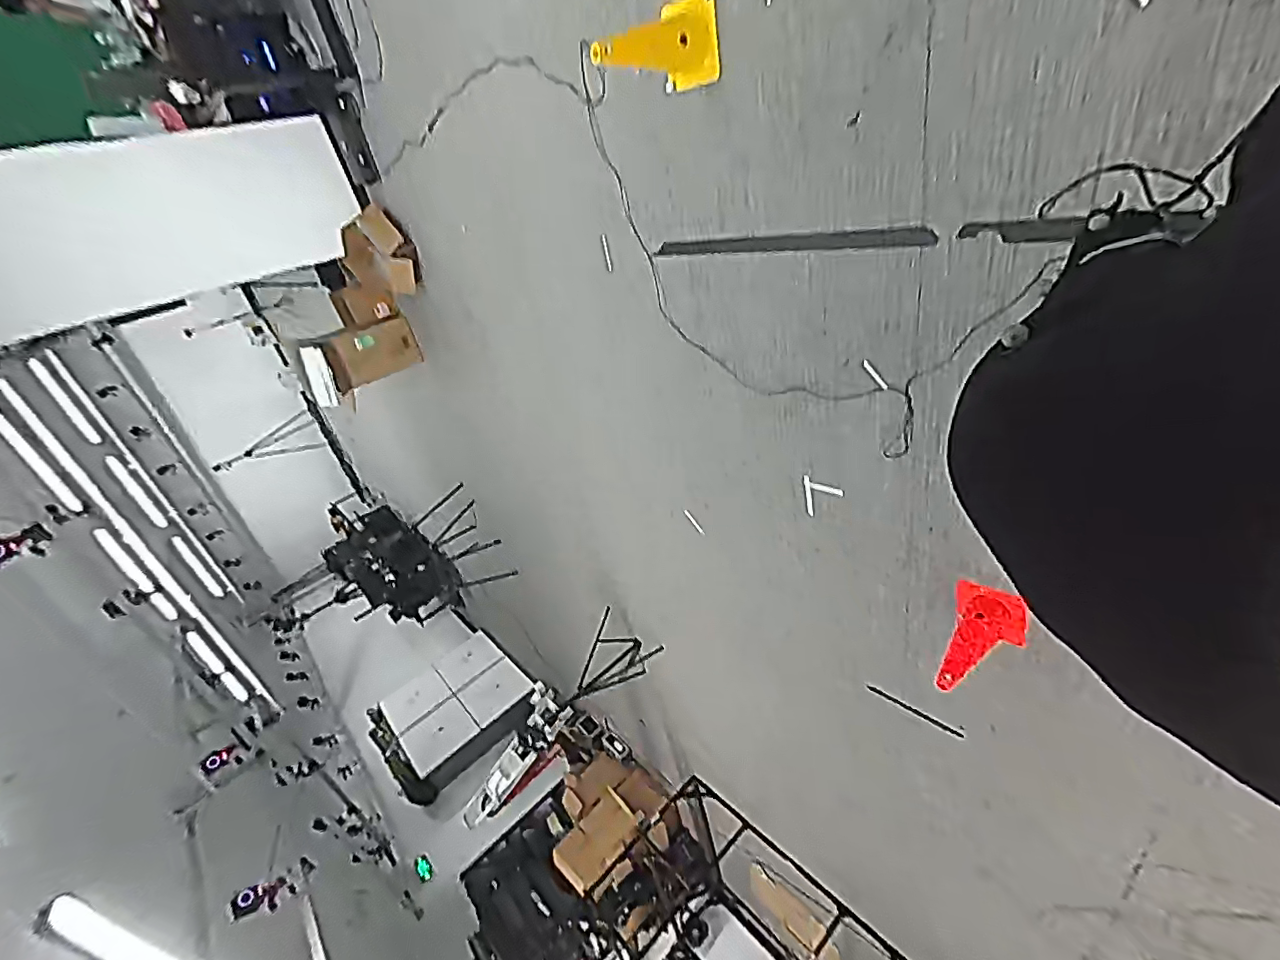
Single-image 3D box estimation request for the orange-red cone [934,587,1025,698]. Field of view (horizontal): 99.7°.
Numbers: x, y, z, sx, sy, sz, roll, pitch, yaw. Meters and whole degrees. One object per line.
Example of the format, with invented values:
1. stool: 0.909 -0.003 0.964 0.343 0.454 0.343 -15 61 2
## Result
1. orange-red cone: 0.982 0.521 1.626 0.199 0.360 0.198 15 131 47
